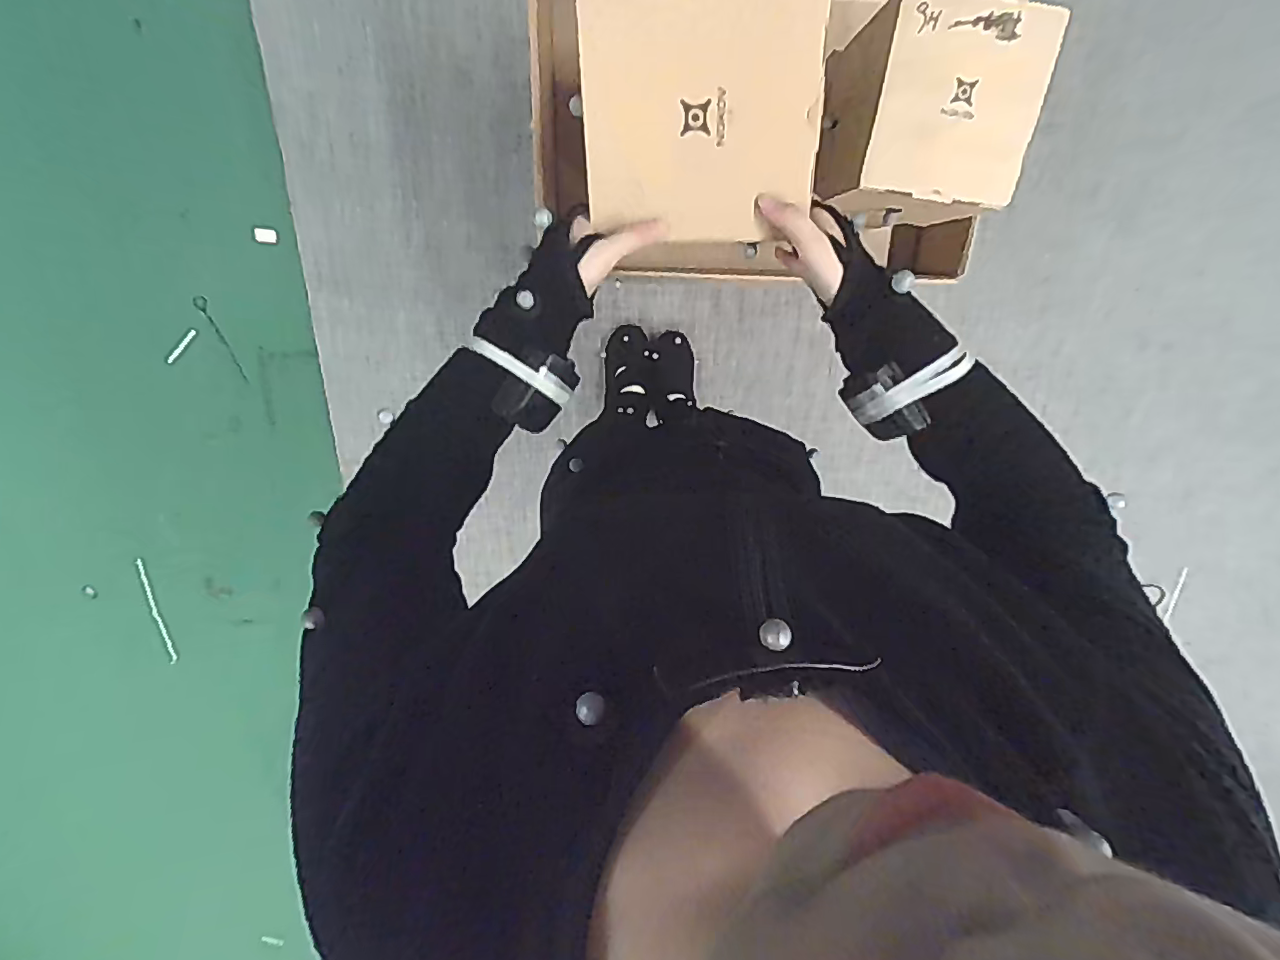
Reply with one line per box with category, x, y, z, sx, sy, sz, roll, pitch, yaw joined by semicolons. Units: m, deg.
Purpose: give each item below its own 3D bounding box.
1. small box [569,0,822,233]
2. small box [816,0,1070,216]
small box;0.040;-0.306;0.468;0.179;0.176;0.168;-2;115;0
small box;0.314;-0.406;0.609;0.168;0.176;0.179;7;112;-3
